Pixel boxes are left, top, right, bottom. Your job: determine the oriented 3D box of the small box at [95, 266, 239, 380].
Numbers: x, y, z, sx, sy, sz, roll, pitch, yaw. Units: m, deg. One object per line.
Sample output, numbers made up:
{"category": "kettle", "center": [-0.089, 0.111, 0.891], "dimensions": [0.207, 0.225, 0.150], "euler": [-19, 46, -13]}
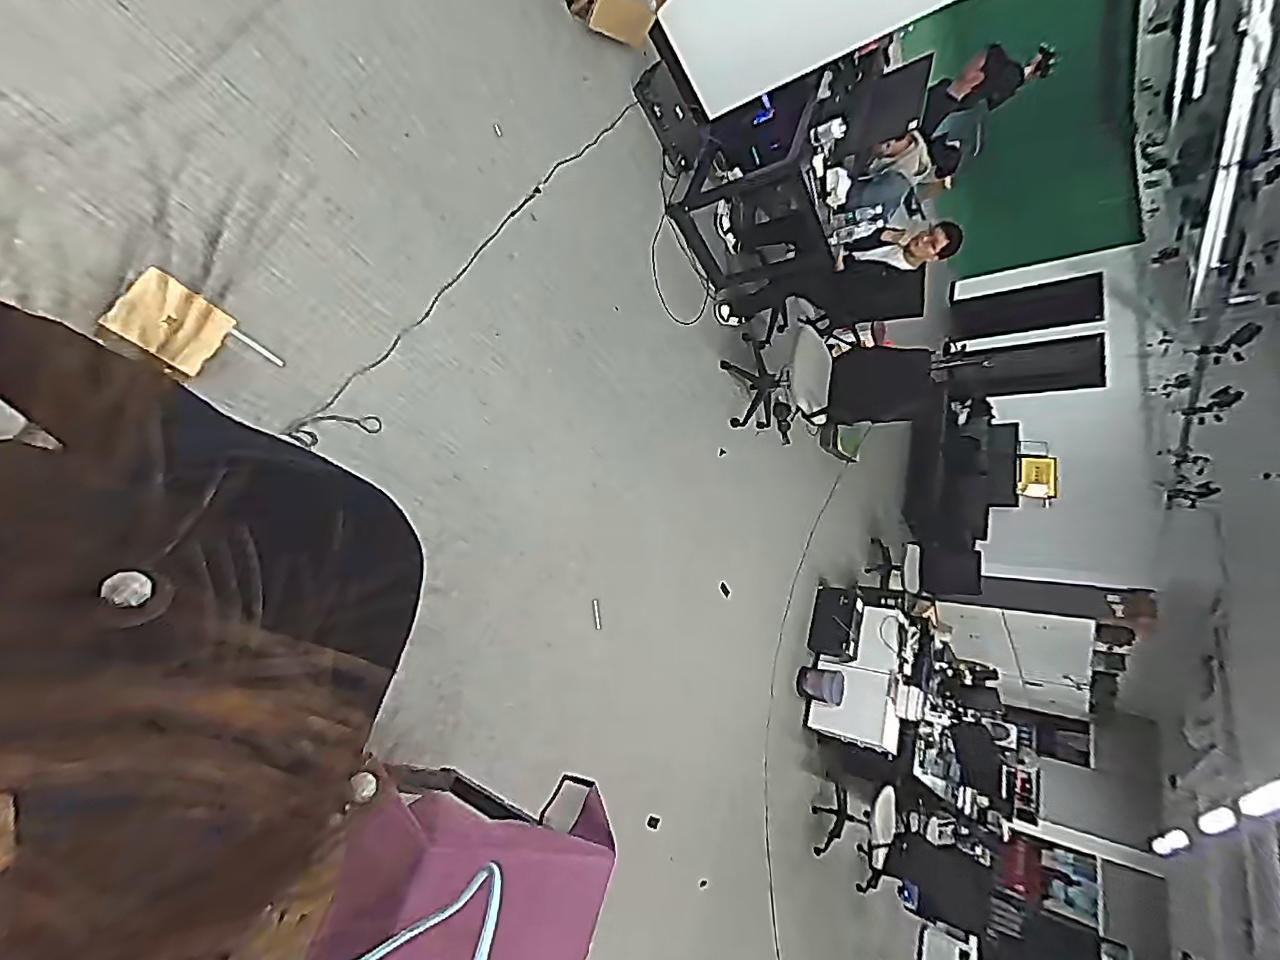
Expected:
{"category": "small box", "center": [-1.068, -0.342, 1.220], "dimensions": [0.179, 0.176, 0.168], "euler": [43, 58, -43]}
